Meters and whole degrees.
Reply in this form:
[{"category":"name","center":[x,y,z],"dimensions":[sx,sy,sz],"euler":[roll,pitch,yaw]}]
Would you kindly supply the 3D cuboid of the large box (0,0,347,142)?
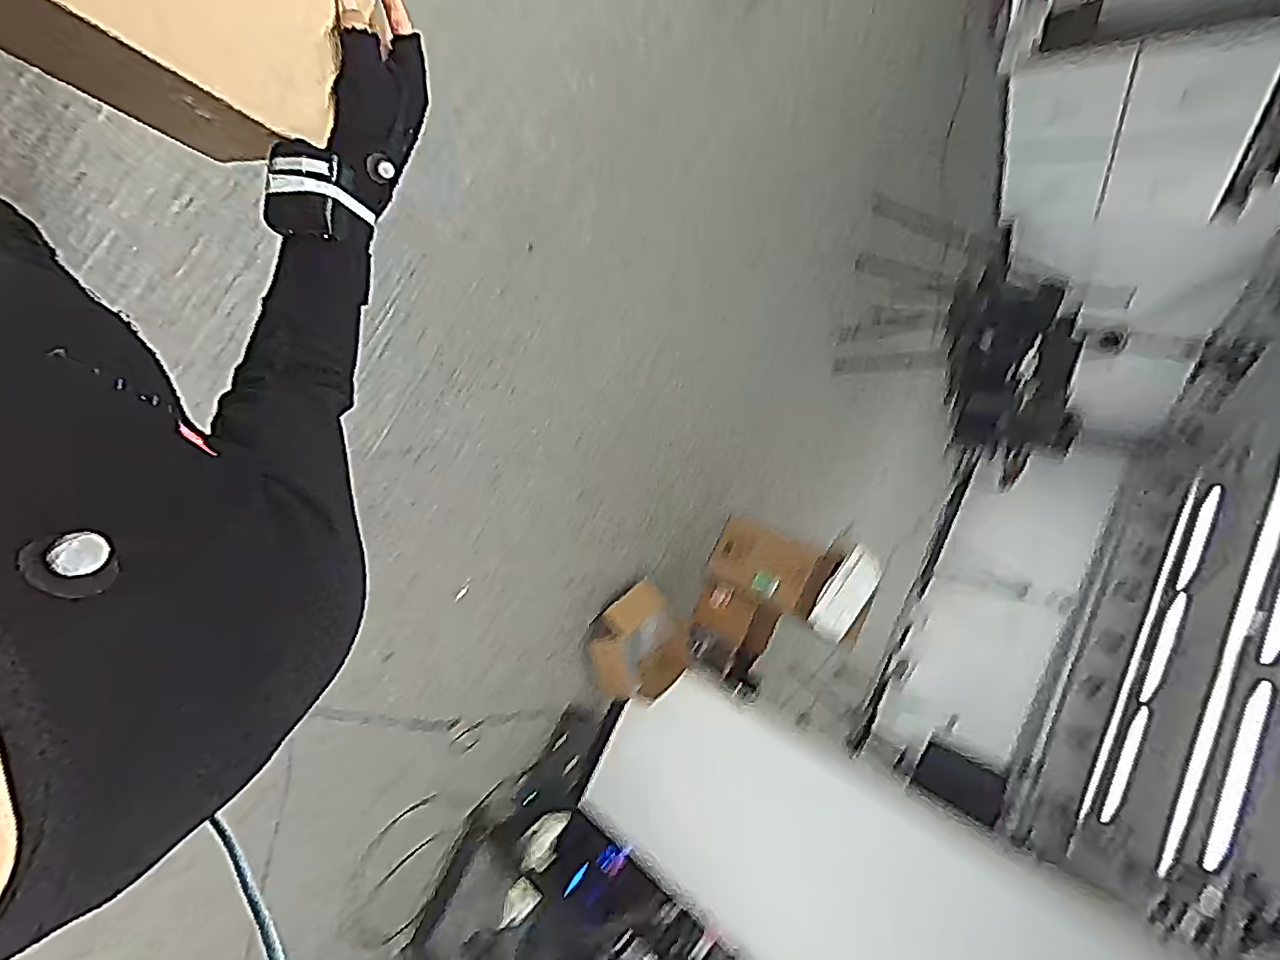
[{"category":"large box","center":[-0.448,-0.494,0.356],"dimensions":[0.408,0.320,0.320],"euler":[11,102,-53]}]
